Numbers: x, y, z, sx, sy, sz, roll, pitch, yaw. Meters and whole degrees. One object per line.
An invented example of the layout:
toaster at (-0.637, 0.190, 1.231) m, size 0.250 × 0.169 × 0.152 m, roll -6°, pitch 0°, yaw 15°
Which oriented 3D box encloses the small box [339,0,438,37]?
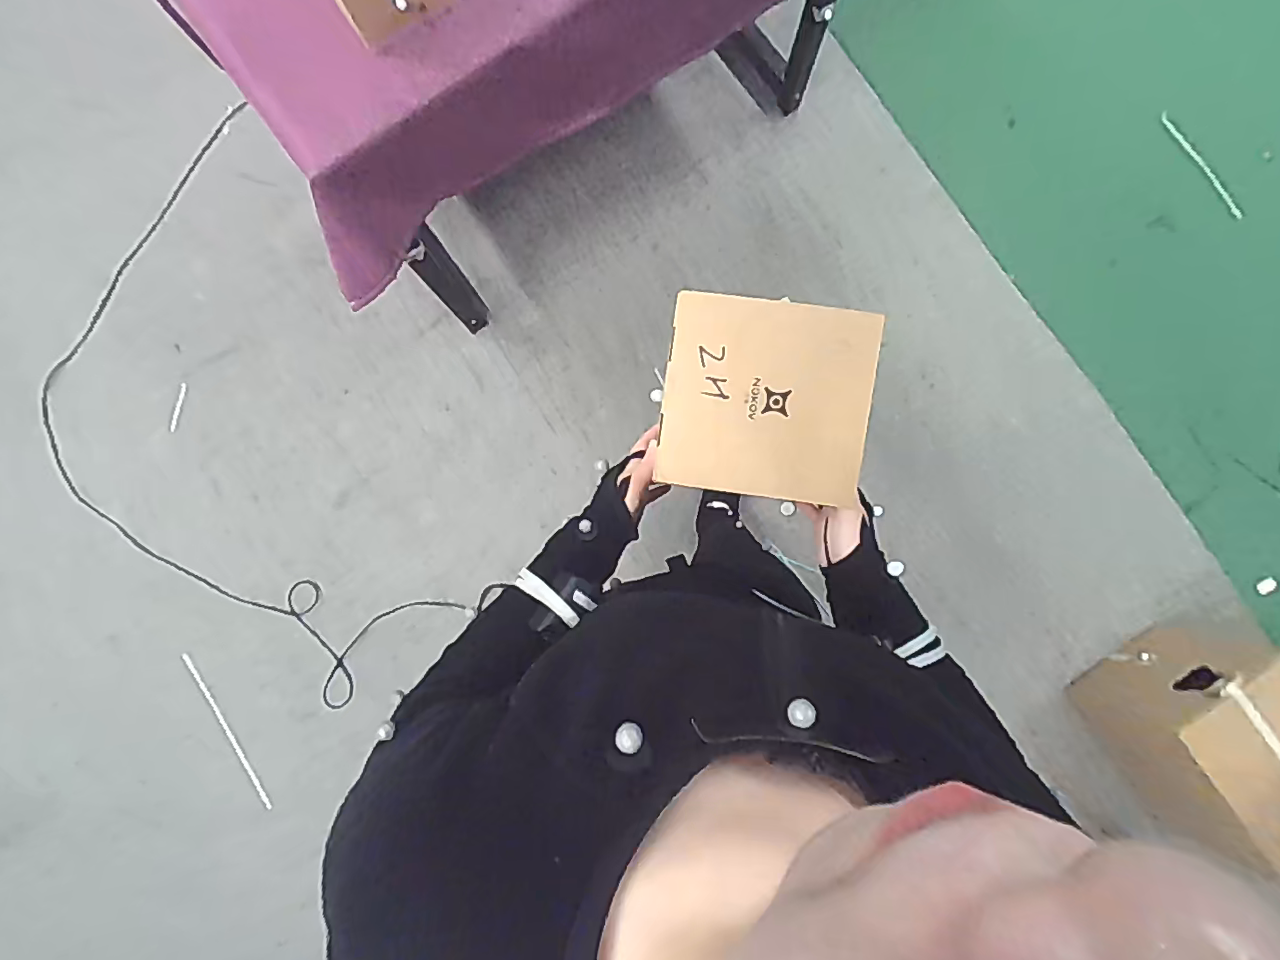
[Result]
small box at (-0.407, -0.804, 0.773) m, size 0.168 × 0.176 × 0.179 m, roll -35°, pitch 86°, yaw -2°

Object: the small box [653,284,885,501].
small box at (0.113, -0.081, 0.541) m, size 0.179 × 0.176 × 0.168 m, roll 8°, pitch 95°, yaw 3°
